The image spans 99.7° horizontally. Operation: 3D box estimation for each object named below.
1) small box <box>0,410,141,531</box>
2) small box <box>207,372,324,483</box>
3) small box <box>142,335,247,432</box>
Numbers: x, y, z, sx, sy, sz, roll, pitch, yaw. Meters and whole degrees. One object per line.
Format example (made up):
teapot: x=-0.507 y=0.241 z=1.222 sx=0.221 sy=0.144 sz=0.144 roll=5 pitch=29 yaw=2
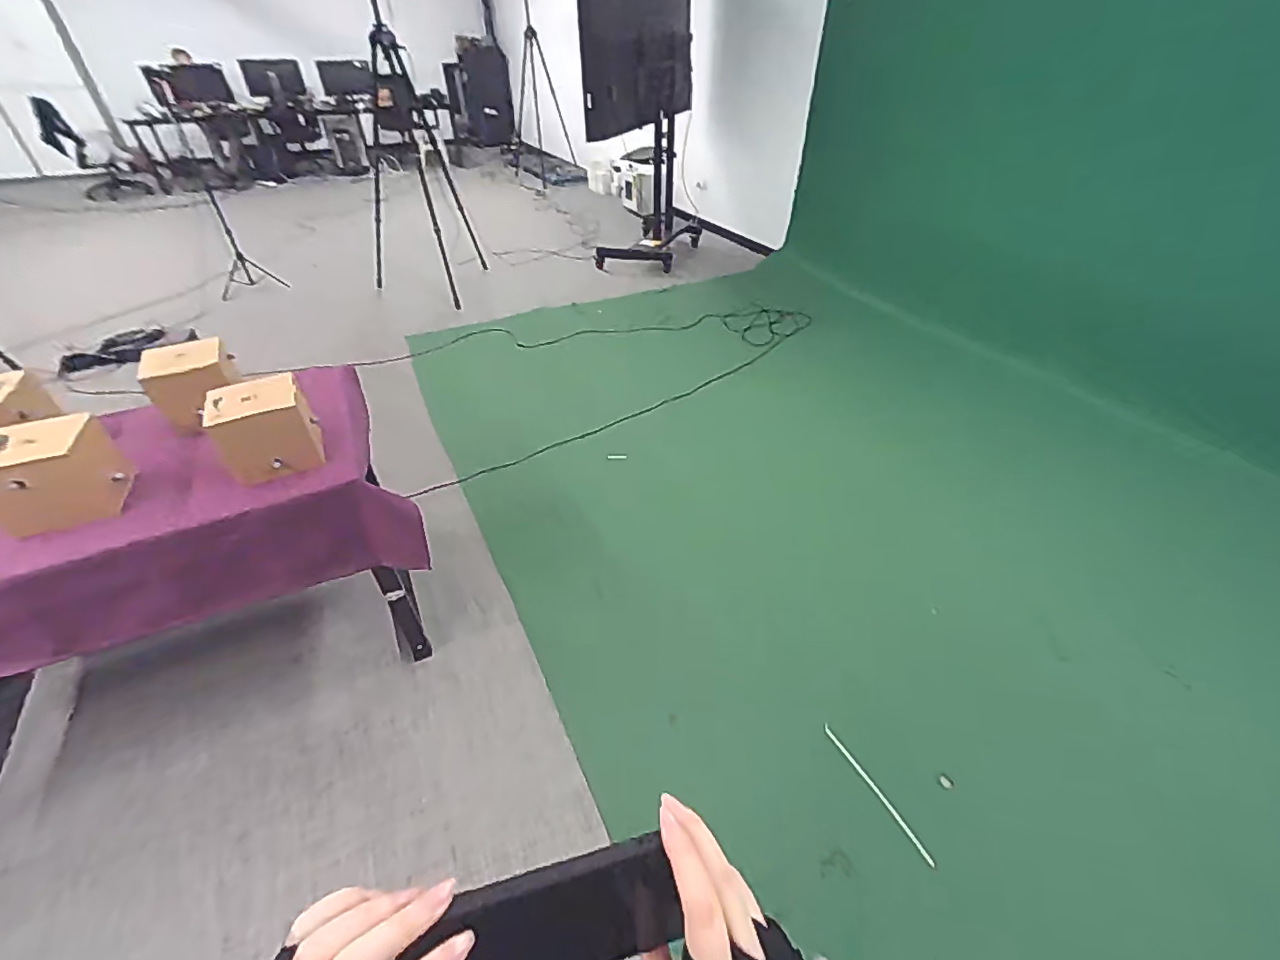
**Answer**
small box: x=-1.202 y=-0.018 z=1.120 sx=0.179 sy=0.176 sz=0.168 roll=-15 pitch=42 yaw=-19
small box: x=-0.845 y=-0.121 z=1.240 sx=0.179 sy=0.176 sz=0.168 roll=-19 pitch=43 yaw=-21
small box: x=-1.127 y=-0.249 z=1.393 sx=0.168 sy=0.176 sz=0.179 roll=-20 pitch=45 yaw=-22
